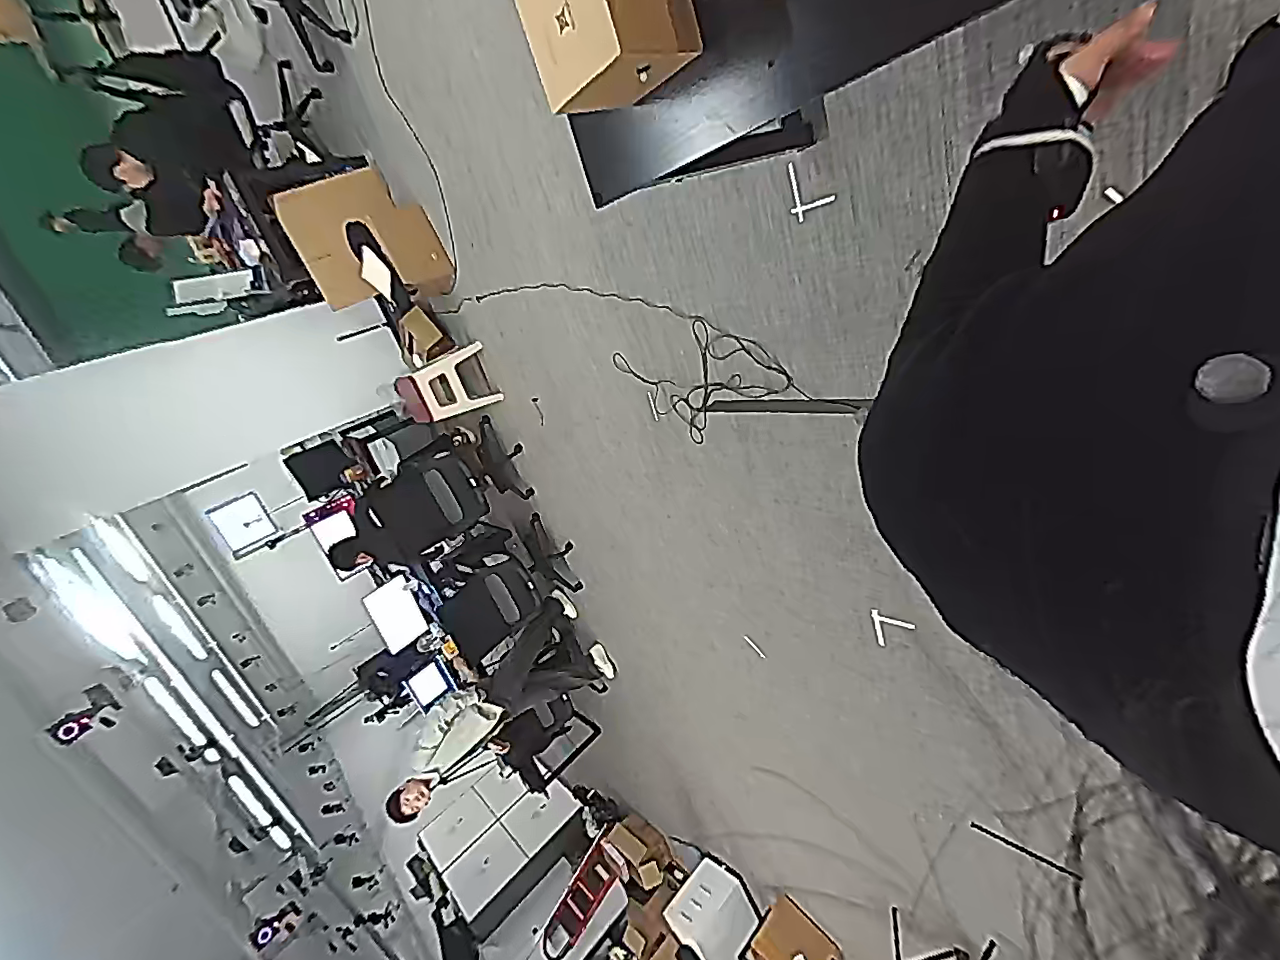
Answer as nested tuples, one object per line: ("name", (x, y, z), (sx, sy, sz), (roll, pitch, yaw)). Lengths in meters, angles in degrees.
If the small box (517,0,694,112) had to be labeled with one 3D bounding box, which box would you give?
("small box", (-0.043, -0.664, 0.775), (0.179, 0.176, 0.168), (5, 120, 51))
